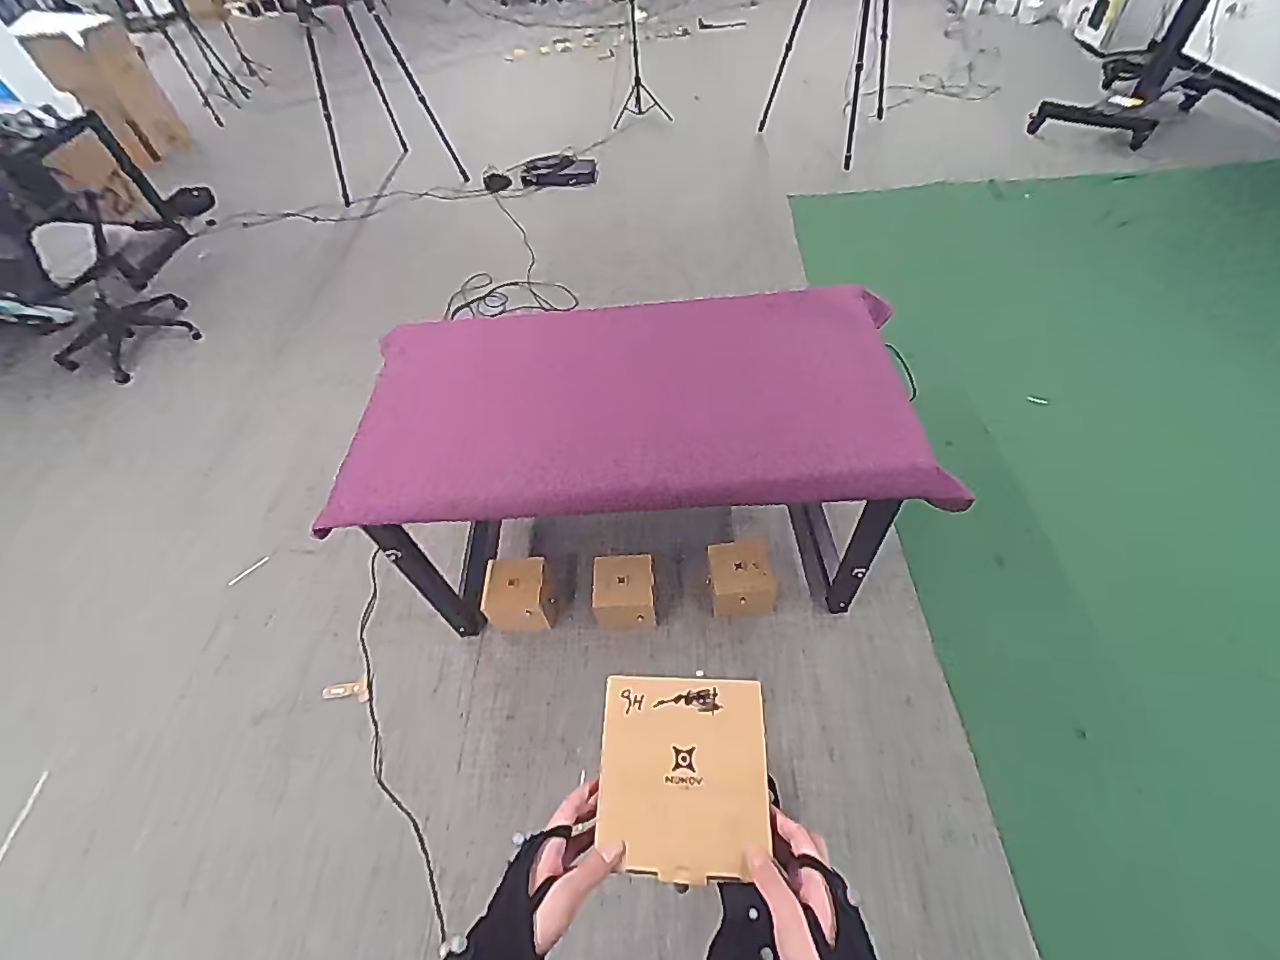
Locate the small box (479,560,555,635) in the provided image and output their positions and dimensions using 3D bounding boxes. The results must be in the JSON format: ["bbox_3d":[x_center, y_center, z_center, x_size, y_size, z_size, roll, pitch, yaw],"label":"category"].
[{"bbox_3d":[-0.369,0.362,1.650,0.179,0.176,0.168,-4,52,3],"label":"small box"}]

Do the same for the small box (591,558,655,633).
[{"bbox_3d":[-0.045,0.350,1.623,0.179,0.176,0.168,-4,51,4],"label":"small box"}]

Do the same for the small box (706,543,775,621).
[{"bbox_3d":[0.295,0.309,1.614,0.179,0.176,0.168,-6,52,2],"label":"small box"}]
